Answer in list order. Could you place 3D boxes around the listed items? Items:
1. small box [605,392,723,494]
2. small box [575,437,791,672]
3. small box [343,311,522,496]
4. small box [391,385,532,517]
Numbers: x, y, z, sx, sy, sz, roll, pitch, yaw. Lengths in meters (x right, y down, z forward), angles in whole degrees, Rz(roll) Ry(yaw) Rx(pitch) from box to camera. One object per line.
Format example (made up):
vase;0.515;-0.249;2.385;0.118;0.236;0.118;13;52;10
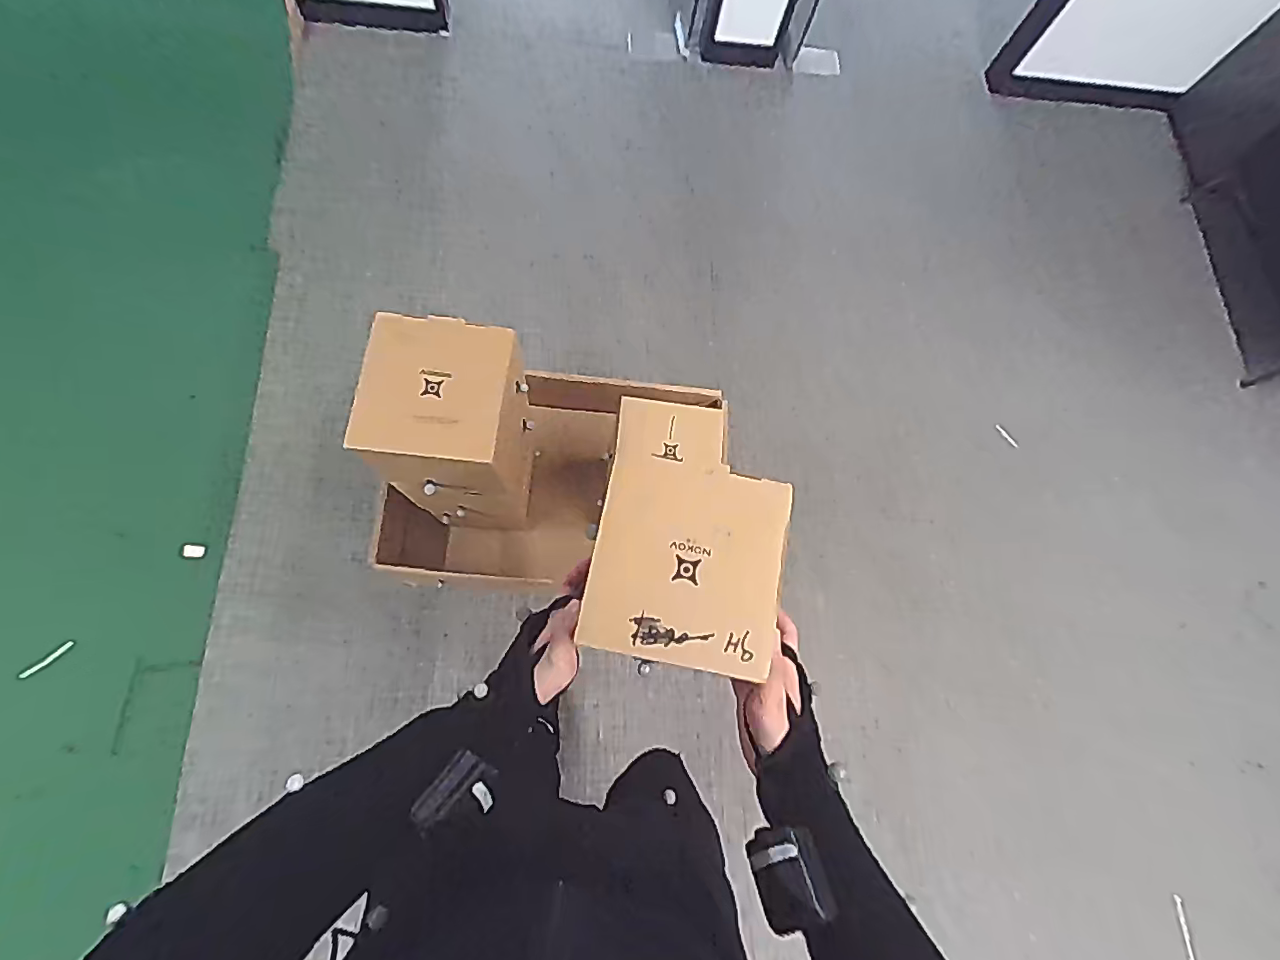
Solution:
small box;0.033;-0.023;0.891;0.168;0.176;0.179;6;75;-6
small box;0.034;0.080;0.540;0.168;0.176;0.179;12;74;-2
small box;-0.252;-0.090;0.705;0.168;0.176;0.179;6;75;-5
small box;-0.270;-0.050;0.862;0.168;0.176;0.179;7;75;-4
